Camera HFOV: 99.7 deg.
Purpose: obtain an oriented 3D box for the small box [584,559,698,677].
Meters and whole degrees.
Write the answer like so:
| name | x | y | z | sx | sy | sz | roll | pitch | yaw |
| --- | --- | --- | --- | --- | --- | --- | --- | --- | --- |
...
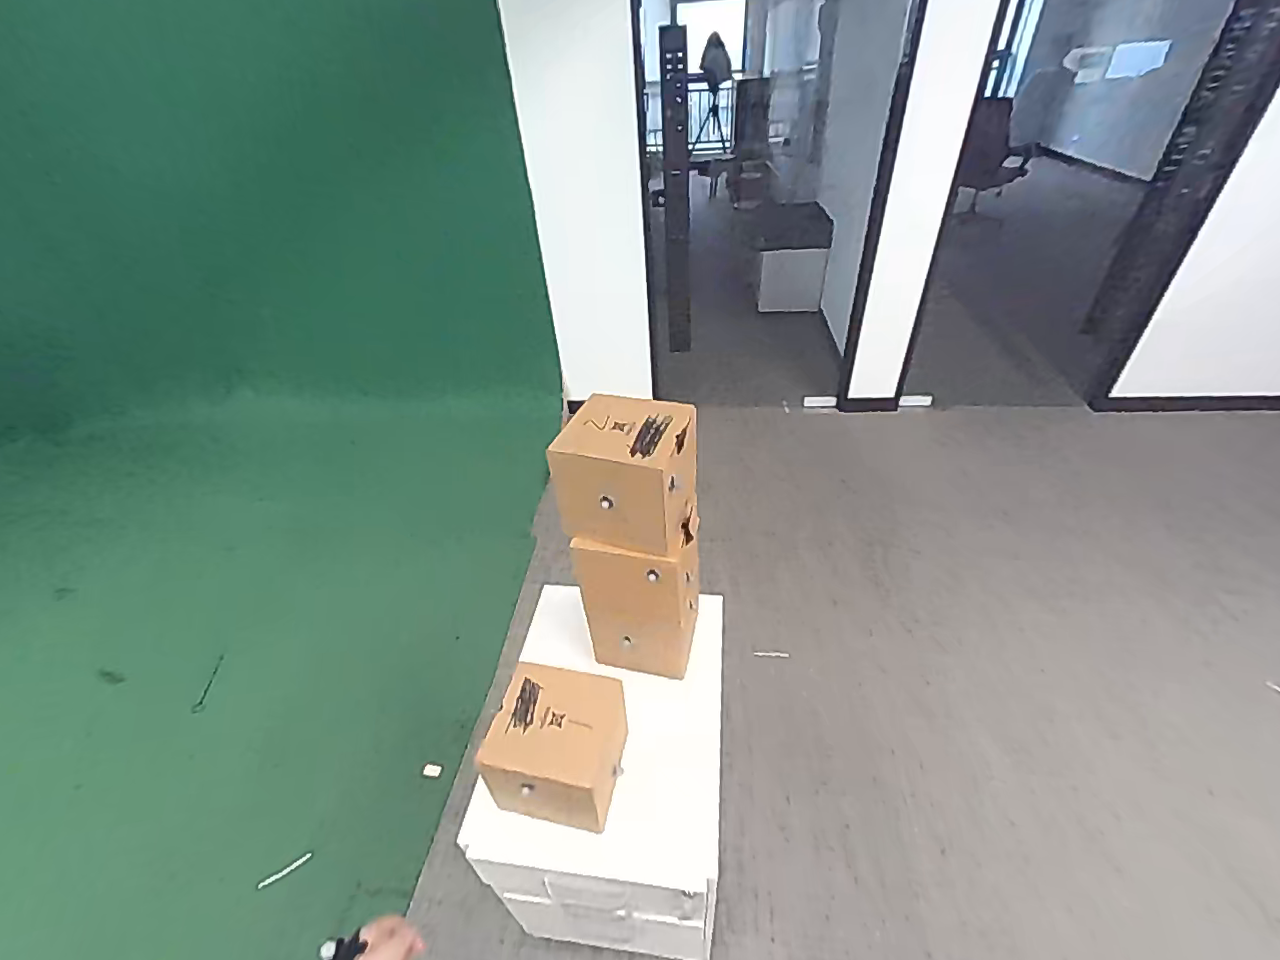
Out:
| name | x | y | z | sx | sy | sz | roll | pitch | yaw |
| --- | --- | --- | --- | --- | --- | --- | --- | --- | --- |
| small box | 0.010 | 0.253 | 1.033 | 0.179 | 0.176 | 0.168 | 6 | 41 | 14 |

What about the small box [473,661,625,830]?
| name | x | y | z | sx | sy | sz | roll | pitch | yaw |
| --- | --- | --- | --- | --- | --- | --- | --- | --- | --- |
| small box | -0.129 | 0.414 | 0.845 | 0.179 | 0.176 | 0.168 | 6 | 39 | 12 |

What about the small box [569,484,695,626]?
| name | x | y | z | sx | sy | sz | roll | pitch | yaw |
| --- | --- | --- | --- | --- | --- | --- | --- | --- | --- |
| small box | -0.004 | 0.128 | 0.929 | 0.179 | 0.176 | 0.168 | 6 | 40 | 13 |
